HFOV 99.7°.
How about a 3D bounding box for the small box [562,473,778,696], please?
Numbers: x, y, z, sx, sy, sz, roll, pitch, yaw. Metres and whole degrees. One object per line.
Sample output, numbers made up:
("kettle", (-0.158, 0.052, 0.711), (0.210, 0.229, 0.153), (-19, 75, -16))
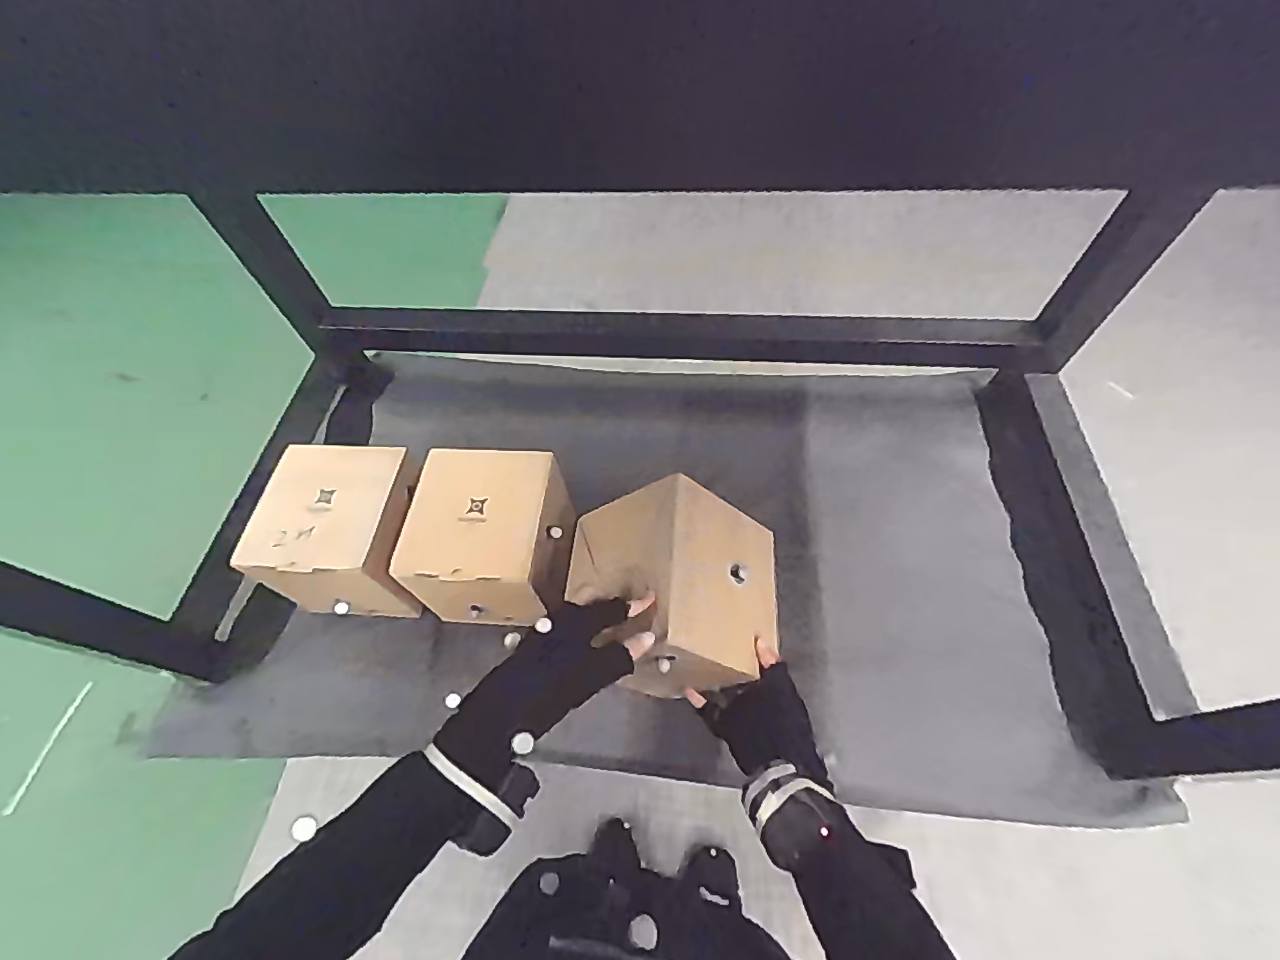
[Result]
("small box", (0.032, 0.122, 0.593), (0.168, 0.176, 0.179), (-26, 46, 39))

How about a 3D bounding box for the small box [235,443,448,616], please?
("small box", (-0.381, 0.069, 0.733), (0.168, 0.176, 0.179), (1, 58, 6))
